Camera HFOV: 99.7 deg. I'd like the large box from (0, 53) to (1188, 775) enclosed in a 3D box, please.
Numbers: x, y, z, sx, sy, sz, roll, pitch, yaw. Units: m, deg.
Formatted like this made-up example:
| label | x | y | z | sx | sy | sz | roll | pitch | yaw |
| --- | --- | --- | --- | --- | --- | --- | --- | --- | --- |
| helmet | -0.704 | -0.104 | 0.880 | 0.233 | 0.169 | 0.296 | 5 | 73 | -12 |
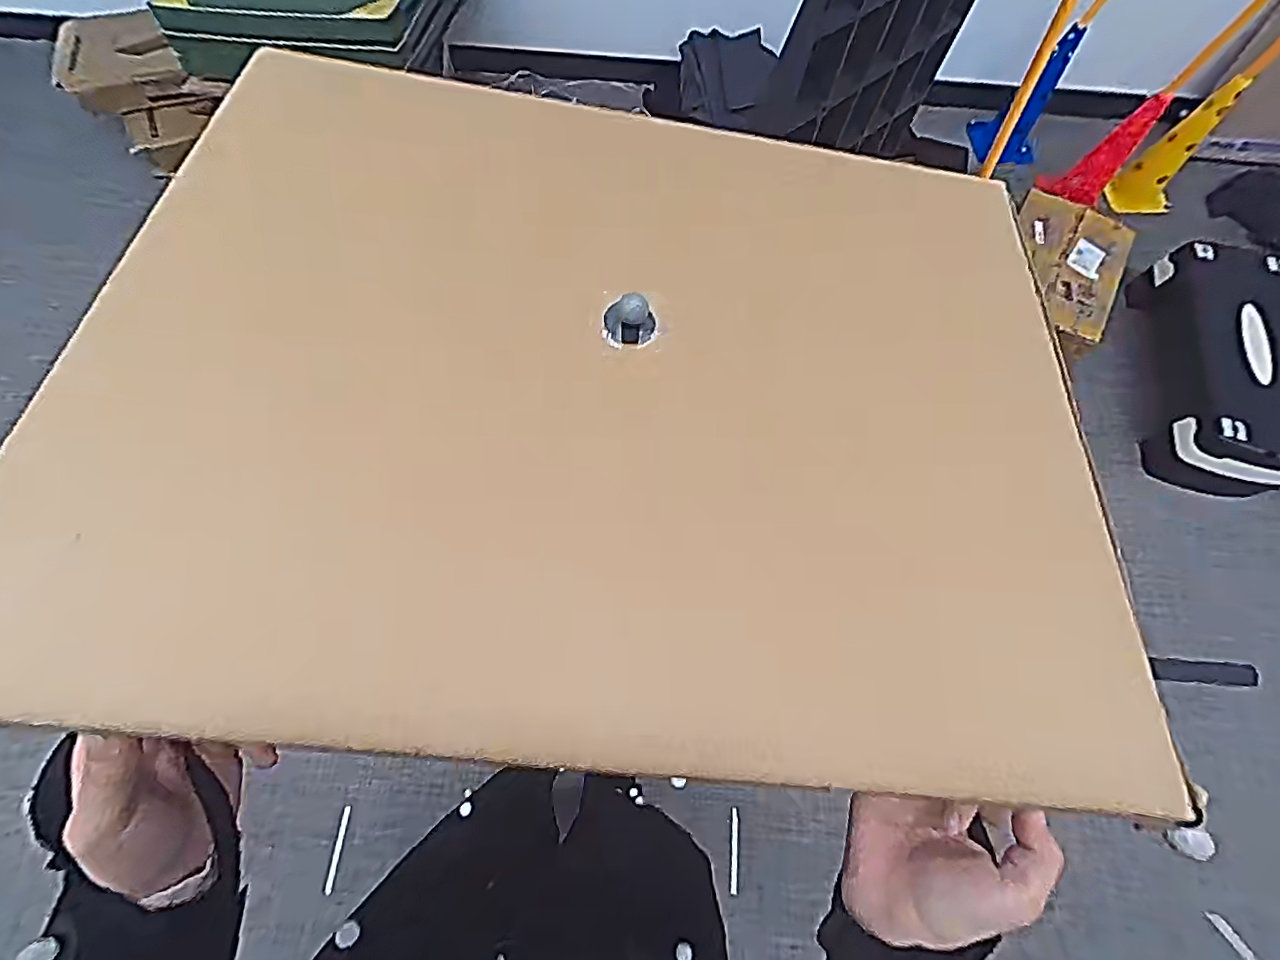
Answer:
| label | x | y | z | sx | sy | sz | roll | pitch | yaw |
| --- | --- | --- | --- | --- | --- | --- | --- | --- | --- |
| large box | -0.023 | -0.006 | 0.359 | 0.408 | 0.320 | 0.320 | 6 | 67 | -4 |
